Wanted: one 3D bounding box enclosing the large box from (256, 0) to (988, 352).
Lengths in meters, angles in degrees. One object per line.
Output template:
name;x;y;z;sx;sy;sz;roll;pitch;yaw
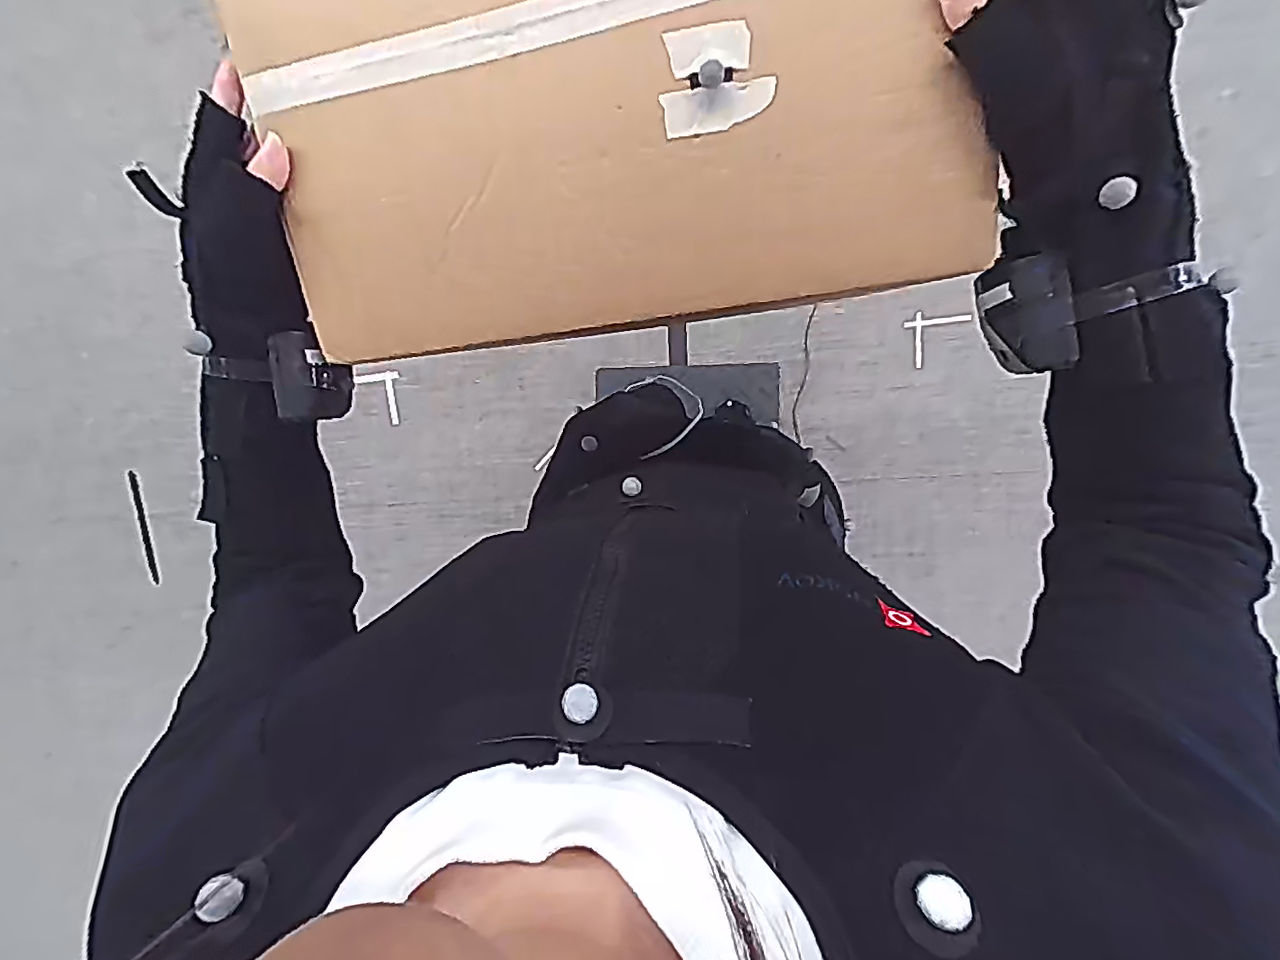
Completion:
large box;-0.006;-0.295;0.436;0.408;0.320;0.320;-6;106;10

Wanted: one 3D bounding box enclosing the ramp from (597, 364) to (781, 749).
ramp;0.123;0.193;1.443;0.509;0.206;0.991;-2;98;11
